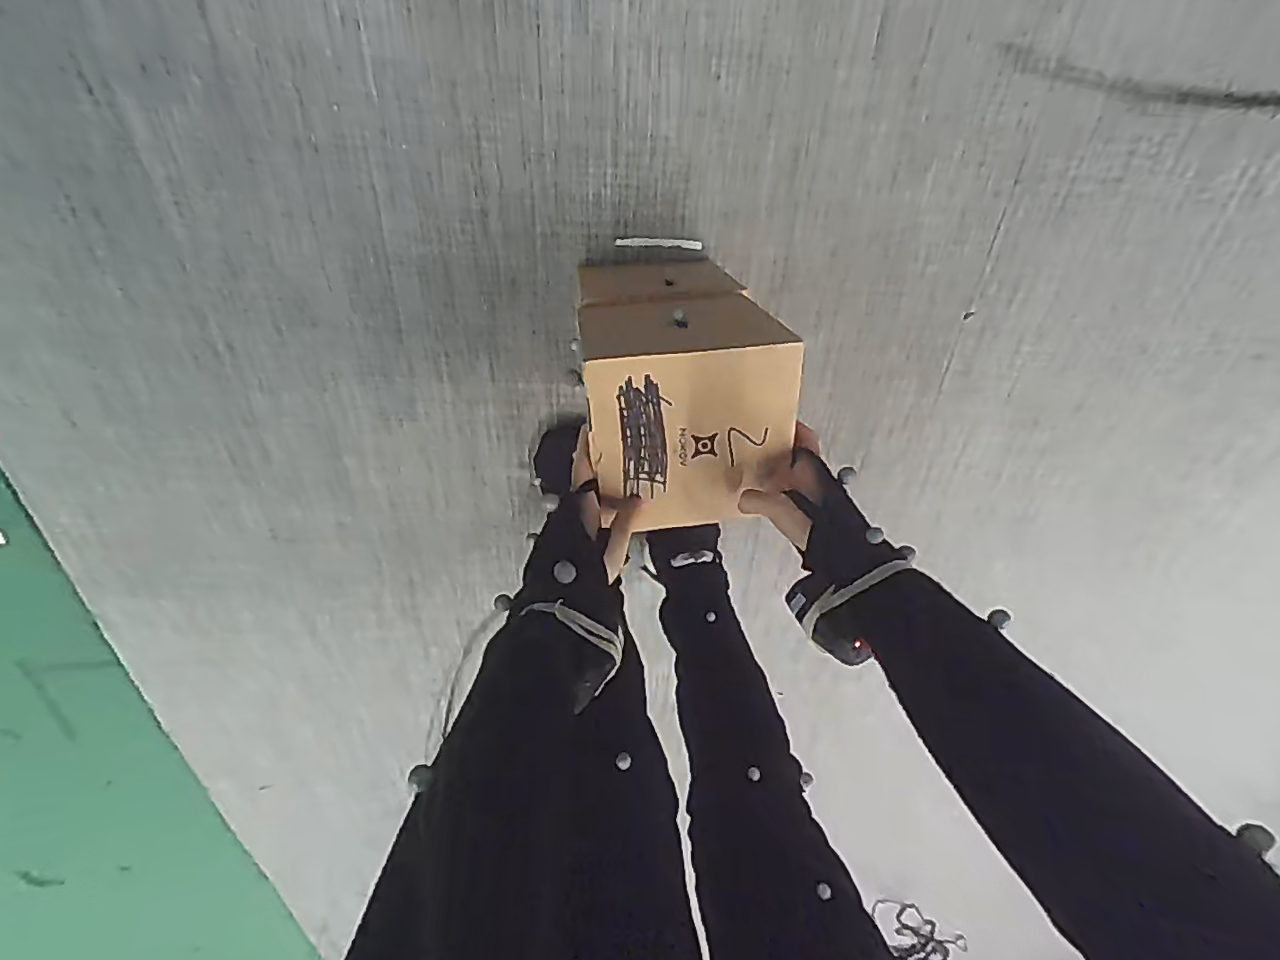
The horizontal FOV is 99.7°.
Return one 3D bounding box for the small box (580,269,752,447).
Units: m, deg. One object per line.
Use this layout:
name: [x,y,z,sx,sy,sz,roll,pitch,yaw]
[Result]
small box: [0.021,-0.155,0.659,0.179,0.176,0.168,-4,122,-5]
